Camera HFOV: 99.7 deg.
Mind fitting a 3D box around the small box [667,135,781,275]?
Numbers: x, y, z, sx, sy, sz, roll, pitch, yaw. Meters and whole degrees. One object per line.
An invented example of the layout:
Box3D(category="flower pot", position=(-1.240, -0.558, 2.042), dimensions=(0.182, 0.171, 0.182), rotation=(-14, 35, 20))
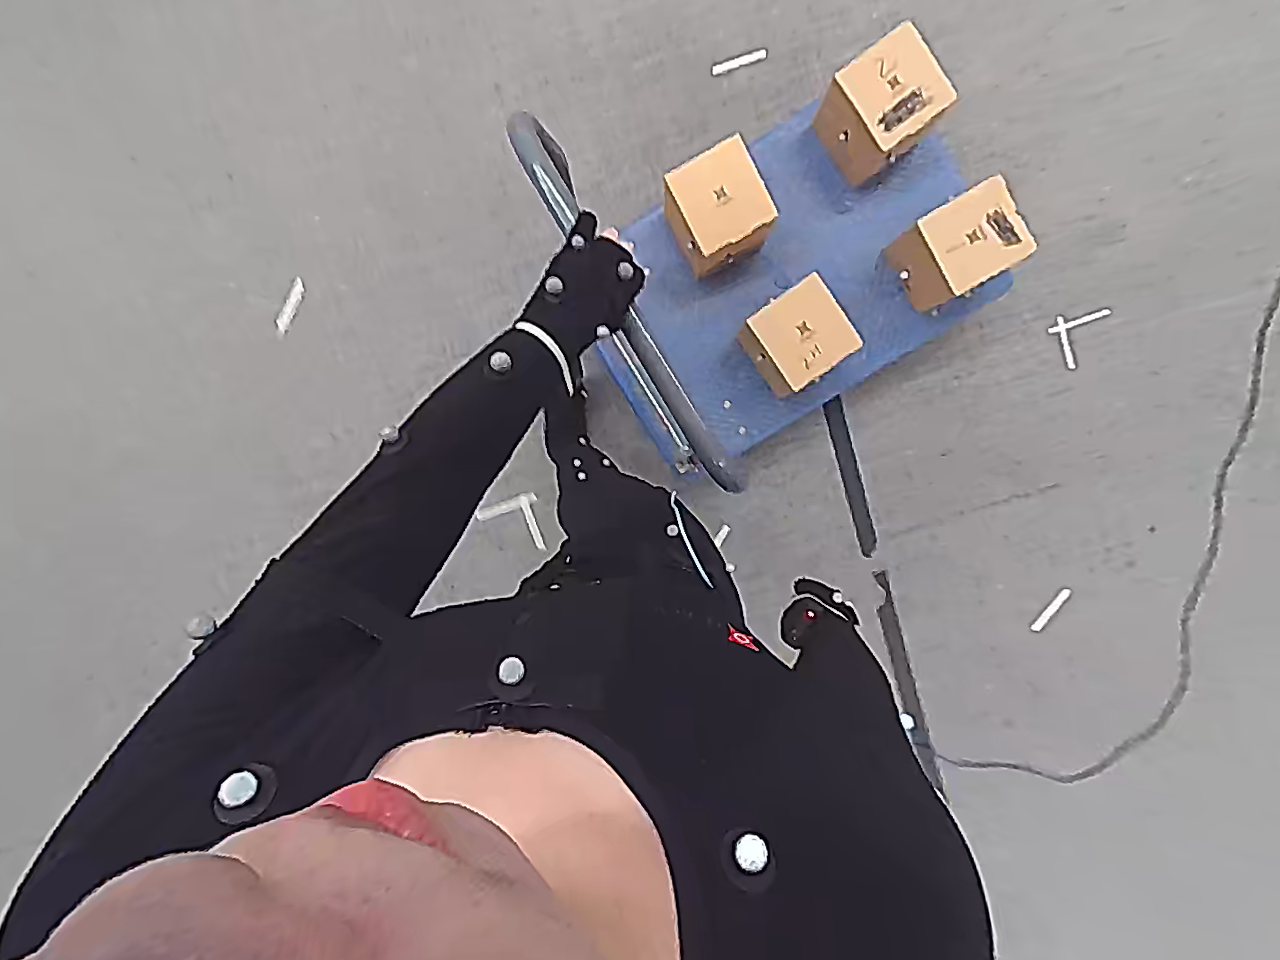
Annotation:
Box3D(category="small box", position=(0.165, -0.560, 1.129), dimensions=(0.168, 0.176, 0.179), rotation=(-28, 95, 4))

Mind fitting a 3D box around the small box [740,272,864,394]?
Box3D(category="small box", position=(0.331, -0.299, 1.146), dimensions=(0.168, 0.176, 0.179), rotation=(-34, 93, 5))

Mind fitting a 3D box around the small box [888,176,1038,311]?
Box3D(category="small box", position=(0.652, -0.475, 1.114), dimensions=(0.179, 0.176, 0.168), rotation=(-29, 94, 6))
